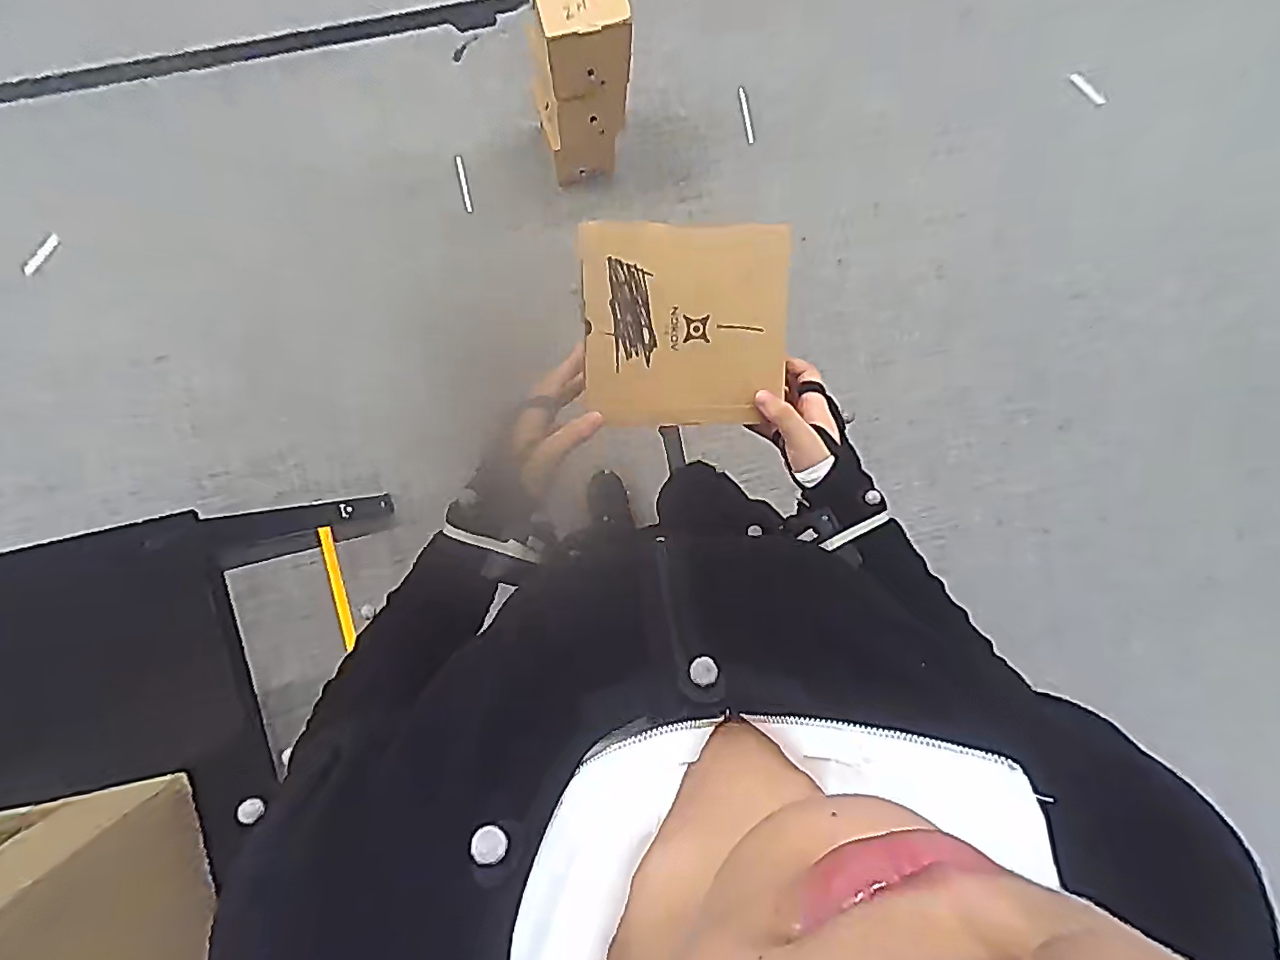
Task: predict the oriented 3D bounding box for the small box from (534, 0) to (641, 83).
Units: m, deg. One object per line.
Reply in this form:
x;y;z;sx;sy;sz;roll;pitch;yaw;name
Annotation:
-0.103;-0.875;0.977;0.168;0.176;0.179;-16;93;-2;small box

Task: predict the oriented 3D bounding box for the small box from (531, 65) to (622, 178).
-0.150;-0.875;1.305;0.168;0.176;0.179;-19;94;-3;small box

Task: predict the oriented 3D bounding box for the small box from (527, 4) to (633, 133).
-0.121;-0.874;1.142;0.168;0.176;0.179;-20;93;-3;small box
